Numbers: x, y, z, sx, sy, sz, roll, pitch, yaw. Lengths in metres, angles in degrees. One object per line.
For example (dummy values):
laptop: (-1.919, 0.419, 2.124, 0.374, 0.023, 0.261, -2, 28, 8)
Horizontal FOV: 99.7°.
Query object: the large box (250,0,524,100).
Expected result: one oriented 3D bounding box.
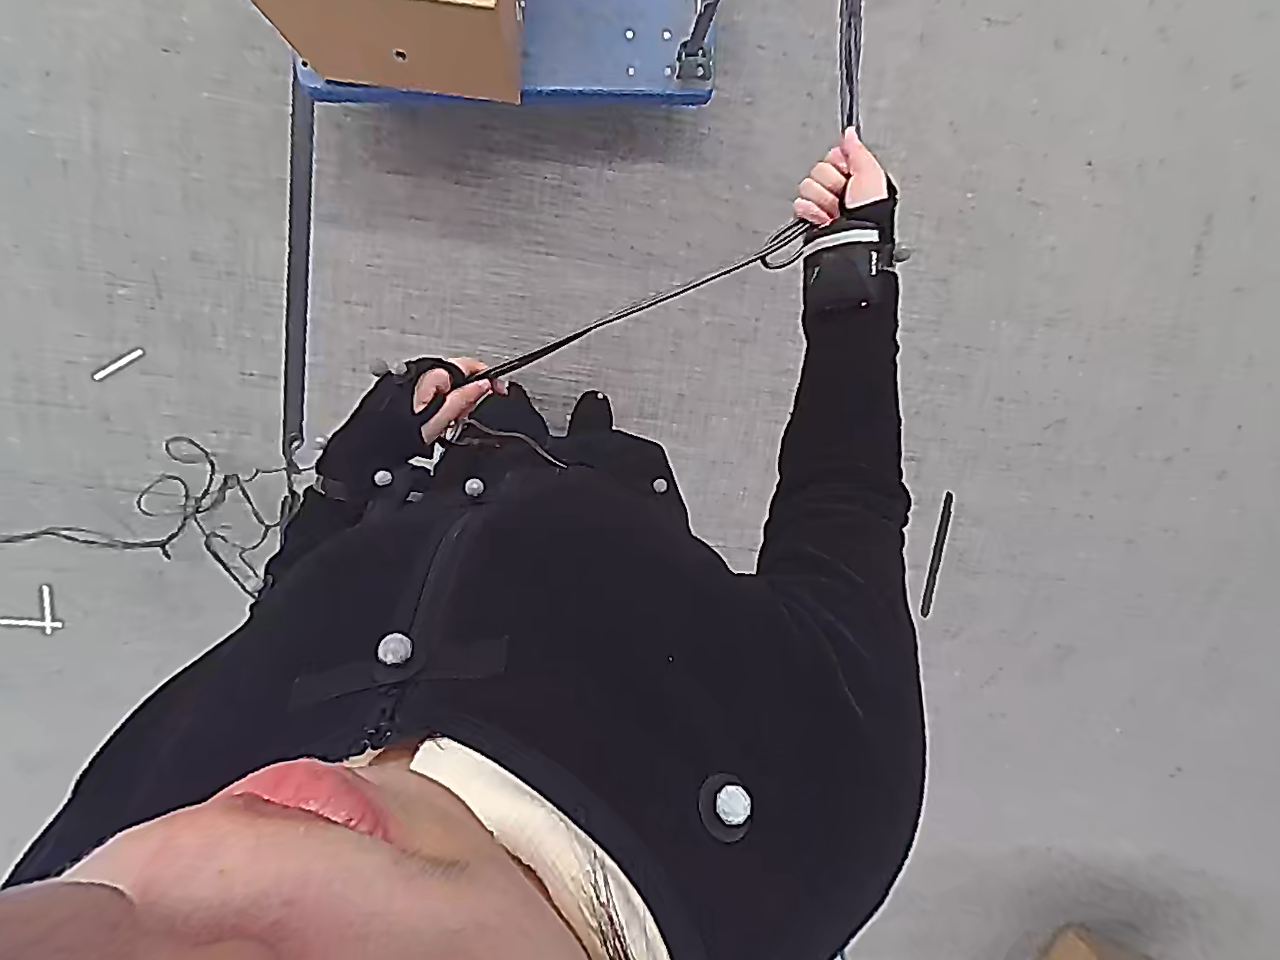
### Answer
large box: (-0.422, -0.920, 0.946, 0.408, 0.320, 0.320, 3, 100, -5)
